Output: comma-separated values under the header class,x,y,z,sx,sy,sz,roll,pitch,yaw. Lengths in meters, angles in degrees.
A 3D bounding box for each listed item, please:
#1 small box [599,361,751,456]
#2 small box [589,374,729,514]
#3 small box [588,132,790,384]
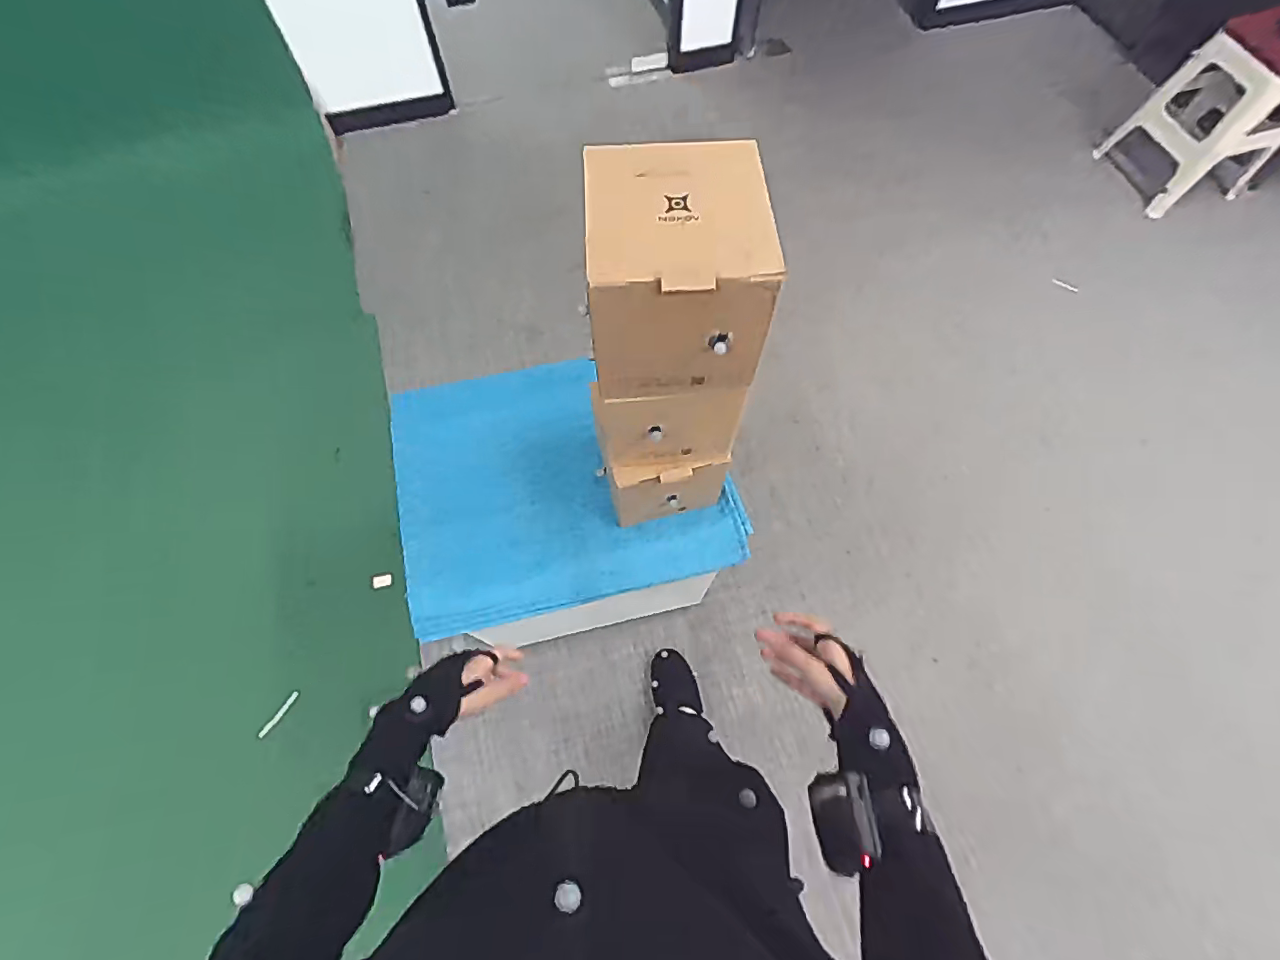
class,x,y,z,sx,sy,sz,roll,pitch,yaw
small box,0.034,-0.140,0.687,0.168,0.176,0.179,-5,65,-3
small box,0.024,-0.058,0.829,0.168,0.176,0.179,-13,68,-7
small box,0.037,-0.209,0.540,0.168,0.176,0.179,-2,65,-2
